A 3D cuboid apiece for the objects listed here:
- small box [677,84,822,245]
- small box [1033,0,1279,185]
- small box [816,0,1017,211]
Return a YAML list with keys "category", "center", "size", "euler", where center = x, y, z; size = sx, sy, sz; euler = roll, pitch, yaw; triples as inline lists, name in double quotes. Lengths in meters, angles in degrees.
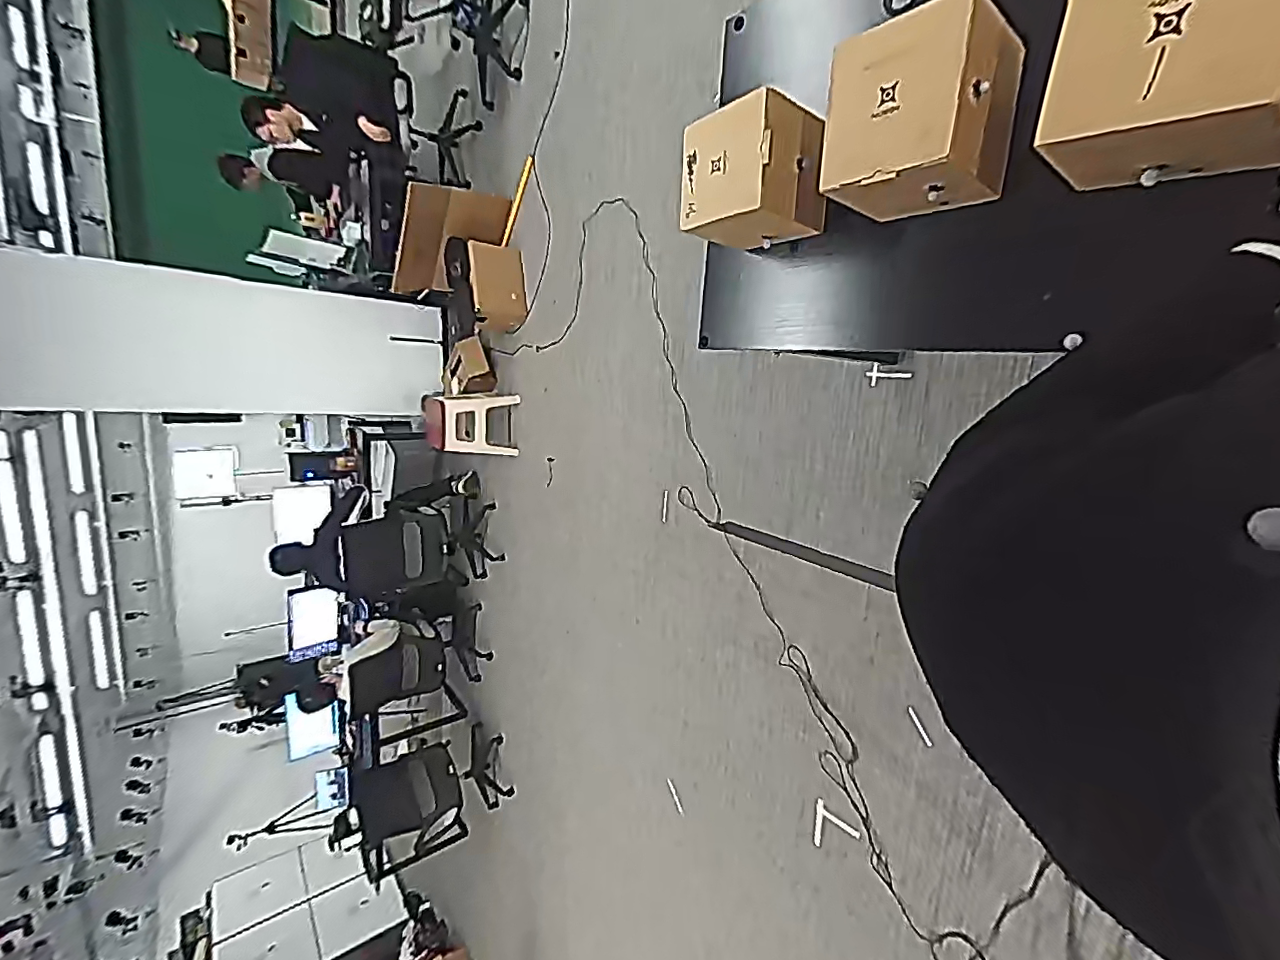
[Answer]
- category: "small box"
  center: [0.184, -0.499, 0.886]
  size: [0.179, 0.176, 0.168]
  euler: [13, 103, 49]
- category: "small box"
  center: [0.506, -0.401, 0.501]
  size: [0.168, 0.176, 0.179]
  euler: [22, 111, 48]
- category: "small box"
  center: [0.351, -0.460, 0.688]
  size: [0.168, 0.176, 0.179]
  euler: [15, 104, 48]
